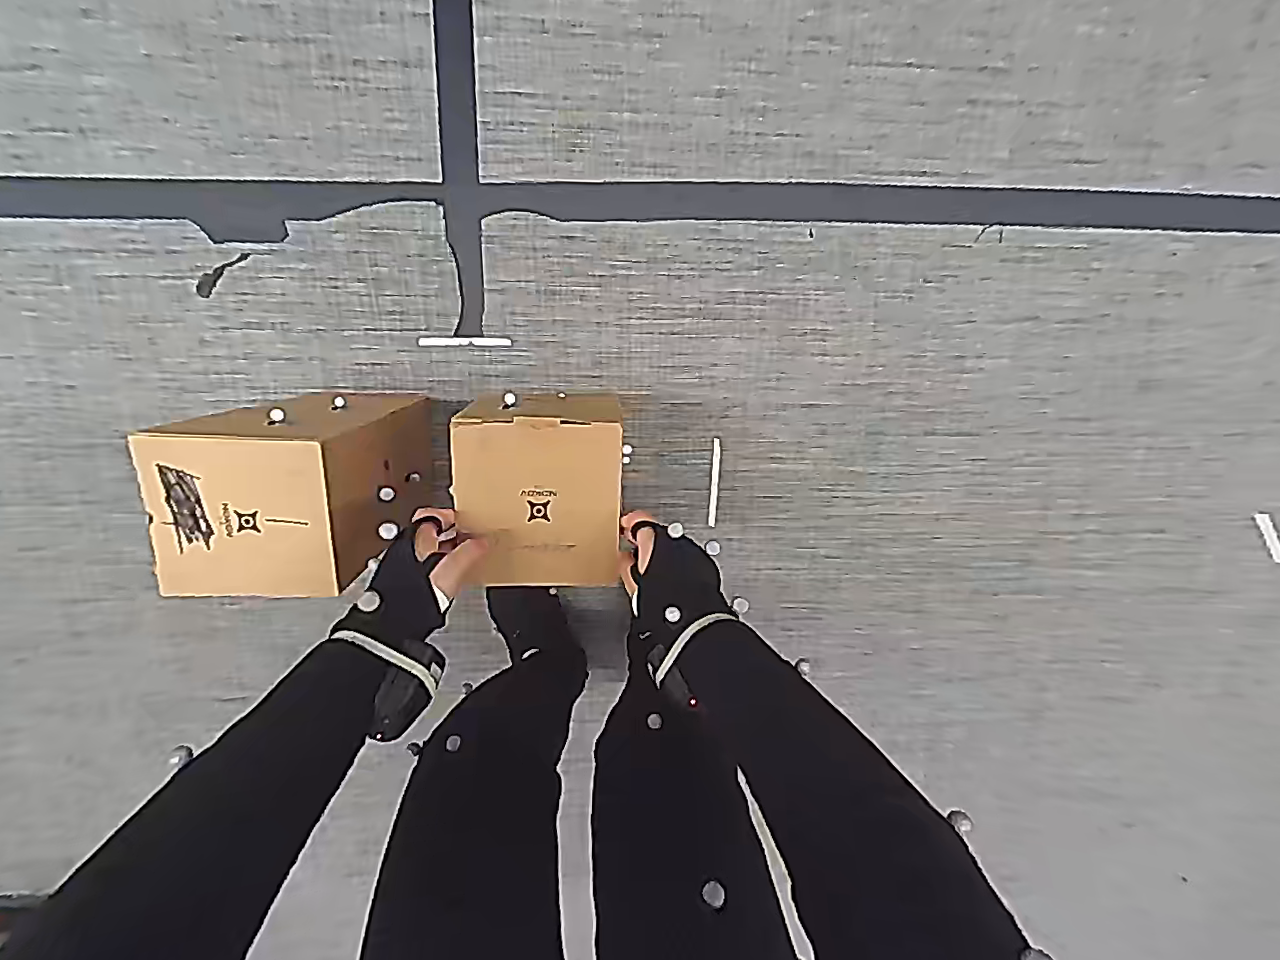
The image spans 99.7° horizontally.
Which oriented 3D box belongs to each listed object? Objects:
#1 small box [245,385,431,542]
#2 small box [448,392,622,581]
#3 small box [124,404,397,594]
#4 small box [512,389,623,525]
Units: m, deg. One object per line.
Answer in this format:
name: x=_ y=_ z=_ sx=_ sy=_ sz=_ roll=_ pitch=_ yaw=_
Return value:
small box: x=-0.403 y=-0.030 z=0.755 sx=0.168 sy=0.176 sz=0.179 roll=3 pitch=107 yaw=-3
small box: x=-0.109 y=-0.003 z=0.609 sx=0.168 sy=0.176 sz=0.179 roll=1 pitch=108 yaw=-4
small box: x=-0.392 y=0.011 z=0.594 sx=0.179 sy=0.176 sz=0.168 roll=2 pitch=106 yaw=-4
small box: x=-0.116 y=-0.038 z=0.769 sx=0.179 sy=0.176 sz=0.168 roll=-1 pitch=107 yaw=-3
